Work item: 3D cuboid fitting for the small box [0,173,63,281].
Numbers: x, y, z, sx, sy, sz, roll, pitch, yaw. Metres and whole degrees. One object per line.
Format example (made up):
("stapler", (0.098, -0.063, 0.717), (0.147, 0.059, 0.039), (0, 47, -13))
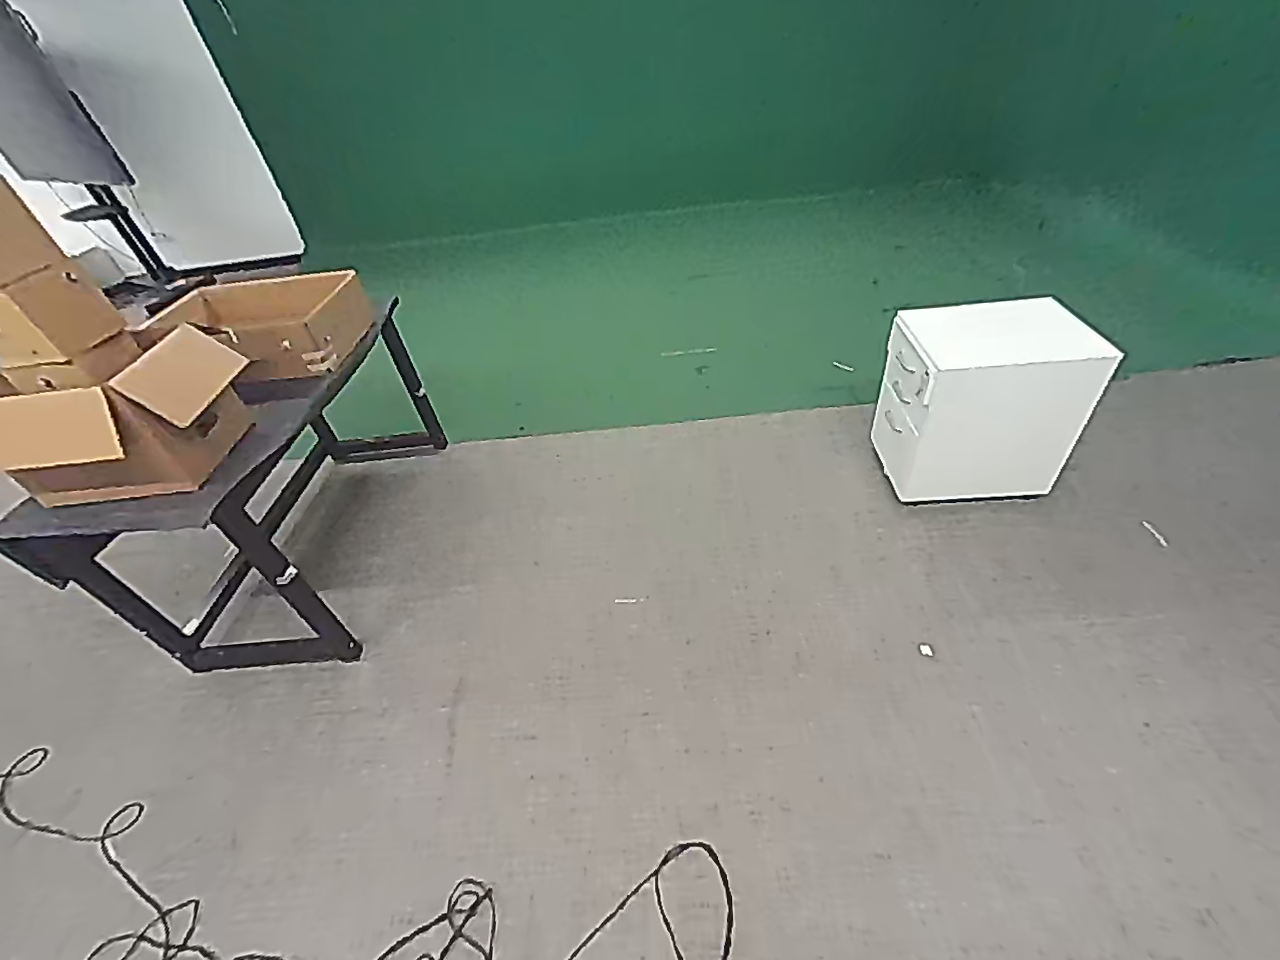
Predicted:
("small box", (-1.331, -0.491, 1.064), (0.168, 0.176, 0.179), (-2, 43, 7))

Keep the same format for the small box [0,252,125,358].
("small box", (-1.307, -0.376, 1.179), (0.168, 0.176, 0.179), (-1, 42, 8))
